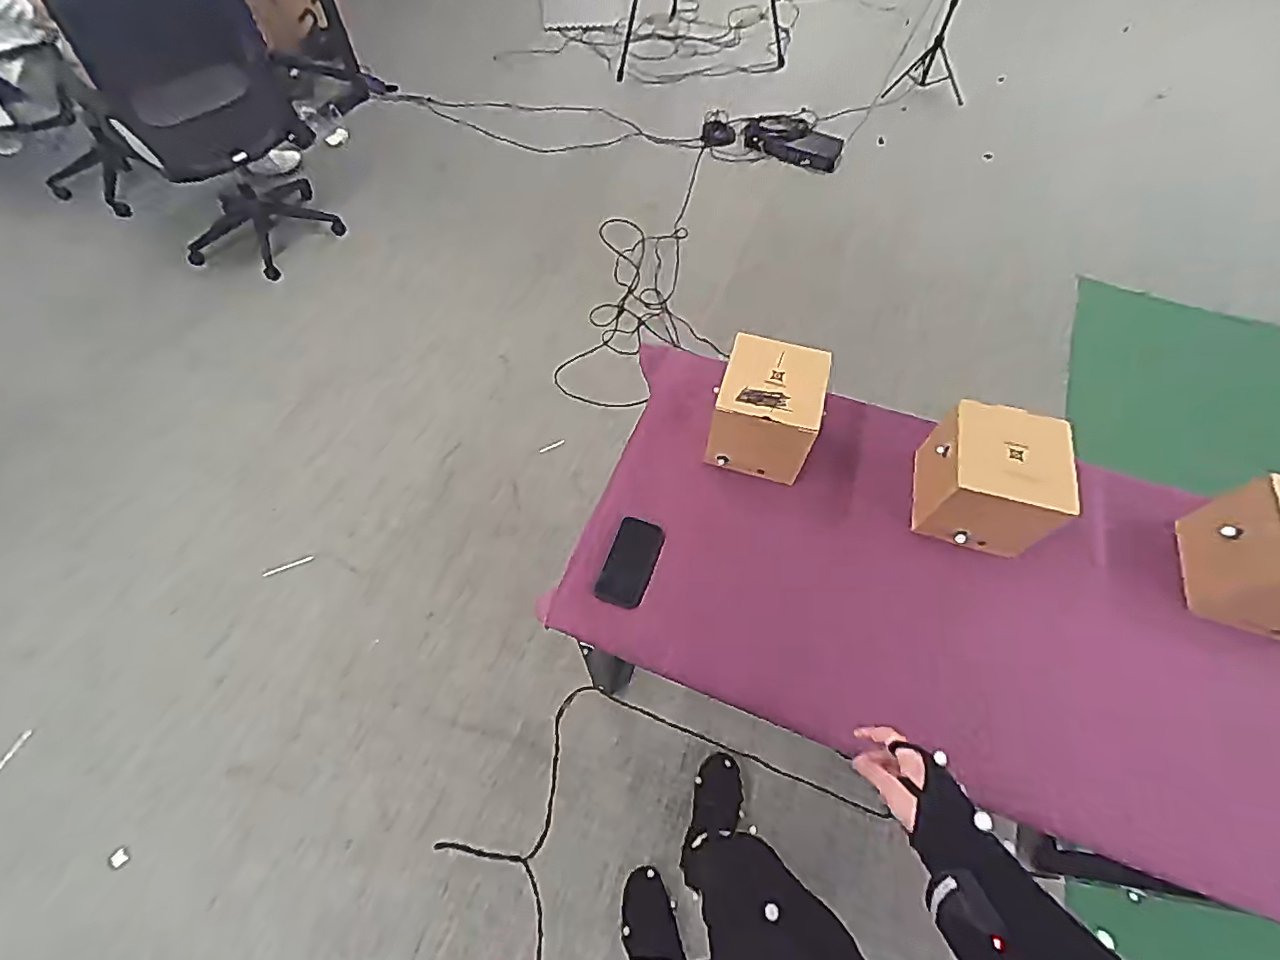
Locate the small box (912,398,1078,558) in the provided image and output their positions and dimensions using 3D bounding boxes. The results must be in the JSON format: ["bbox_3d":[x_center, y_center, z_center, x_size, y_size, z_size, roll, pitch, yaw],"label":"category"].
[{"bbox_3d":[0.563,0.001,0.880,0.168,0.176,0.179,15,61,10],"label":"small box"}]

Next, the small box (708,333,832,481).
[{"bbox_3d":[0.221,-0.123,0.949,0.168,0.176,0.179,16,60,8],"label":"small box"}]

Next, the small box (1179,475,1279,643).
[{"bbox_3d":[0.968,0.125,0.807,0.168,0.176,0.179,17,60,10],"label":"small box"}]
